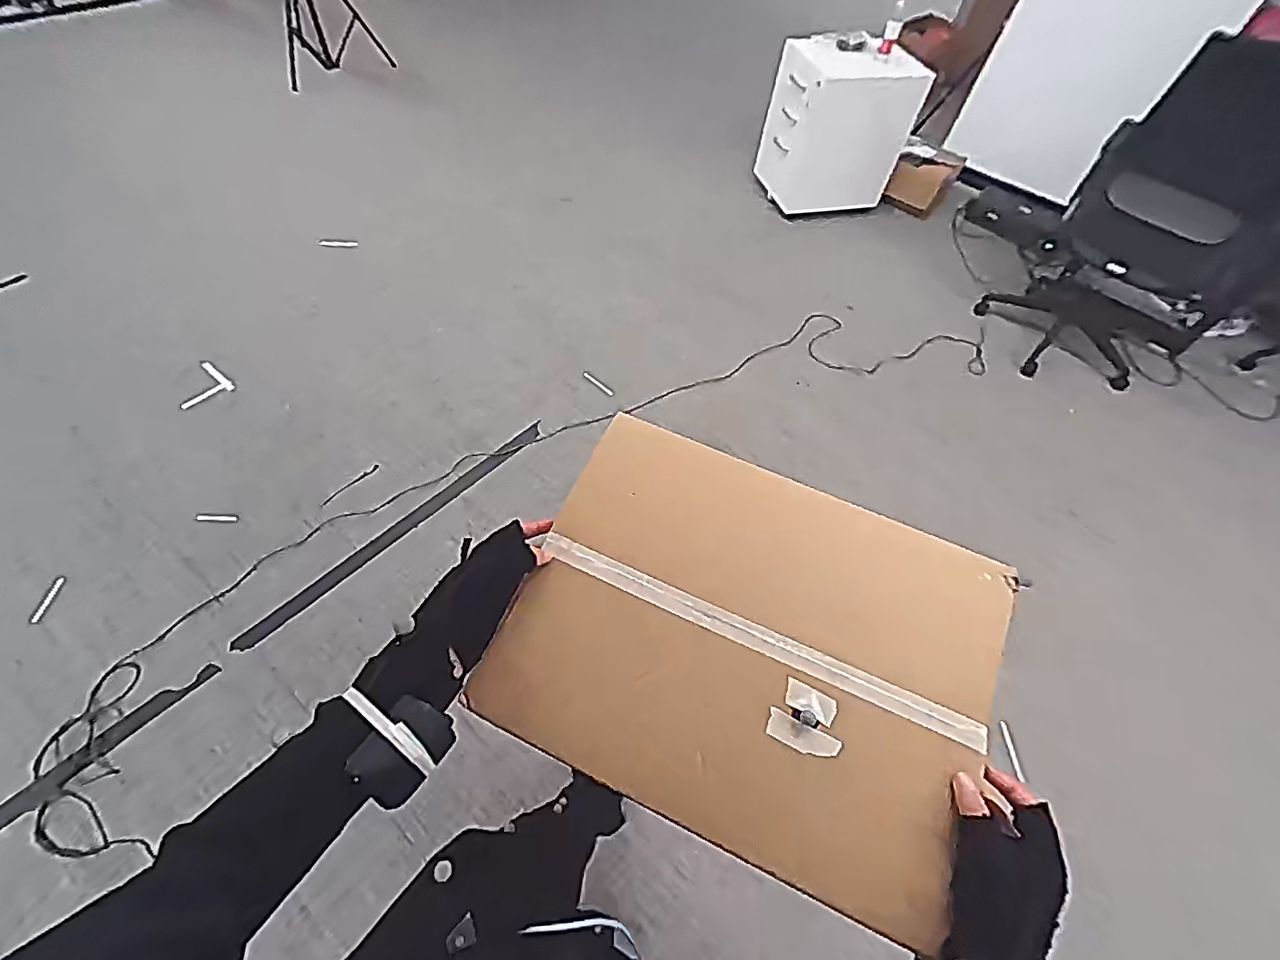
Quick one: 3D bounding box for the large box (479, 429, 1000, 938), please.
[{"bbox_3d":[0.099,0.203,0.624,0.408,0.320,0.320,23,69,10],"label":"large box"}]
